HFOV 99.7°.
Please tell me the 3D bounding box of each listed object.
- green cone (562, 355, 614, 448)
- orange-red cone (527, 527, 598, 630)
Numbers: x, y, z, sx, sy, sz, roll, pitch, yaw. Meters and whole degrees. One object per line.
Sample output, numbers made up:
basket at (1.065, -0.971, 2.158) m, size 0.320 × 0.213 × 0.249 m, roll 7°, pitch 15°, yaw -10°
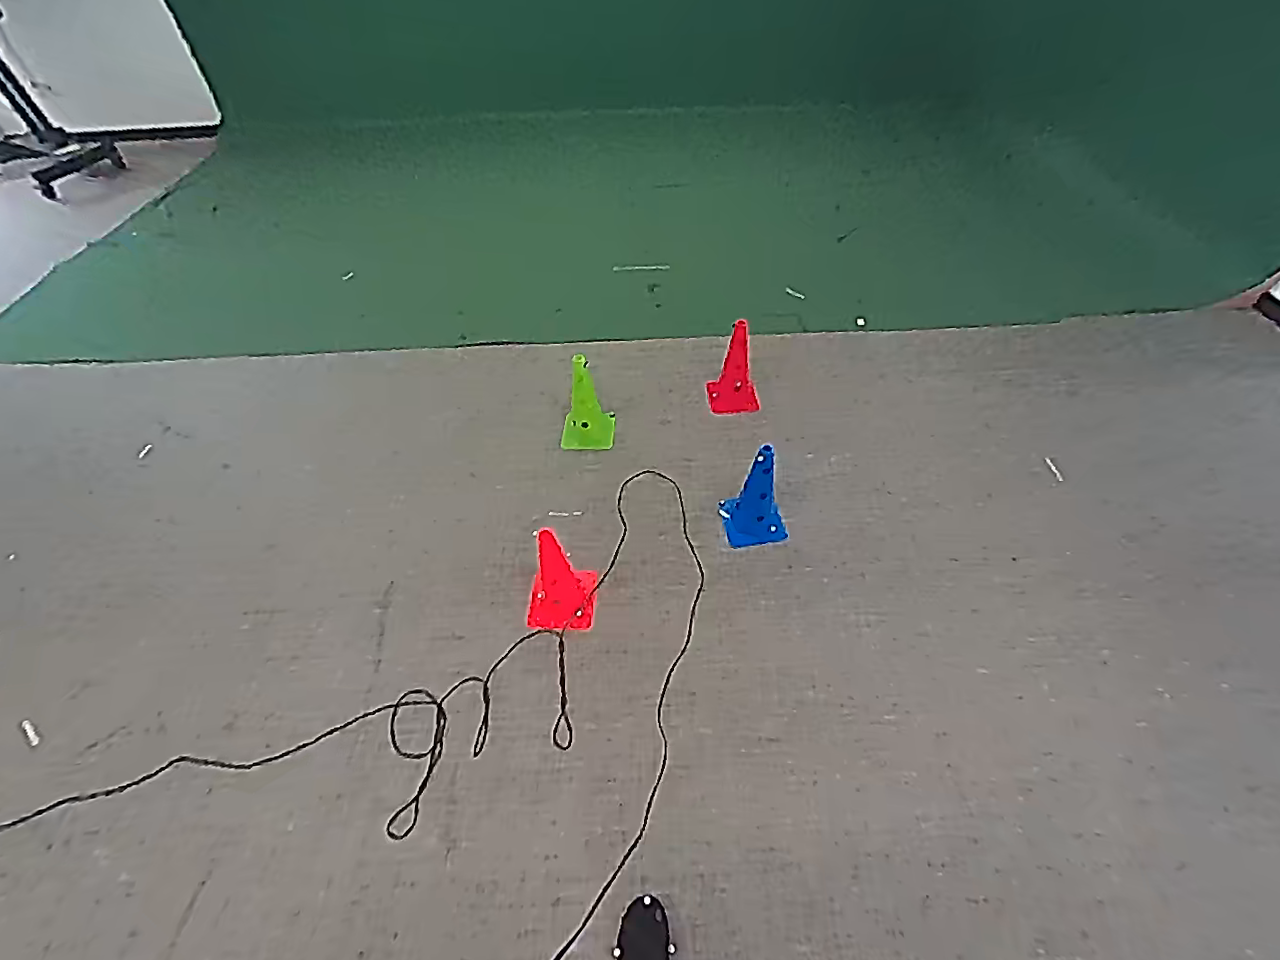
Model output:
green cone at (-0.210, -0.311, 2.003) m, size 0.200 × 0.368 × 0.202 m, roll -1°, pitch 51°, yaw 2°
orange-red cone at (-0.238, 0.249, 1.532) m, size 0.198 × 0.360 × 0.199 m, roll 2°, pitch 48°, yaw 3°
